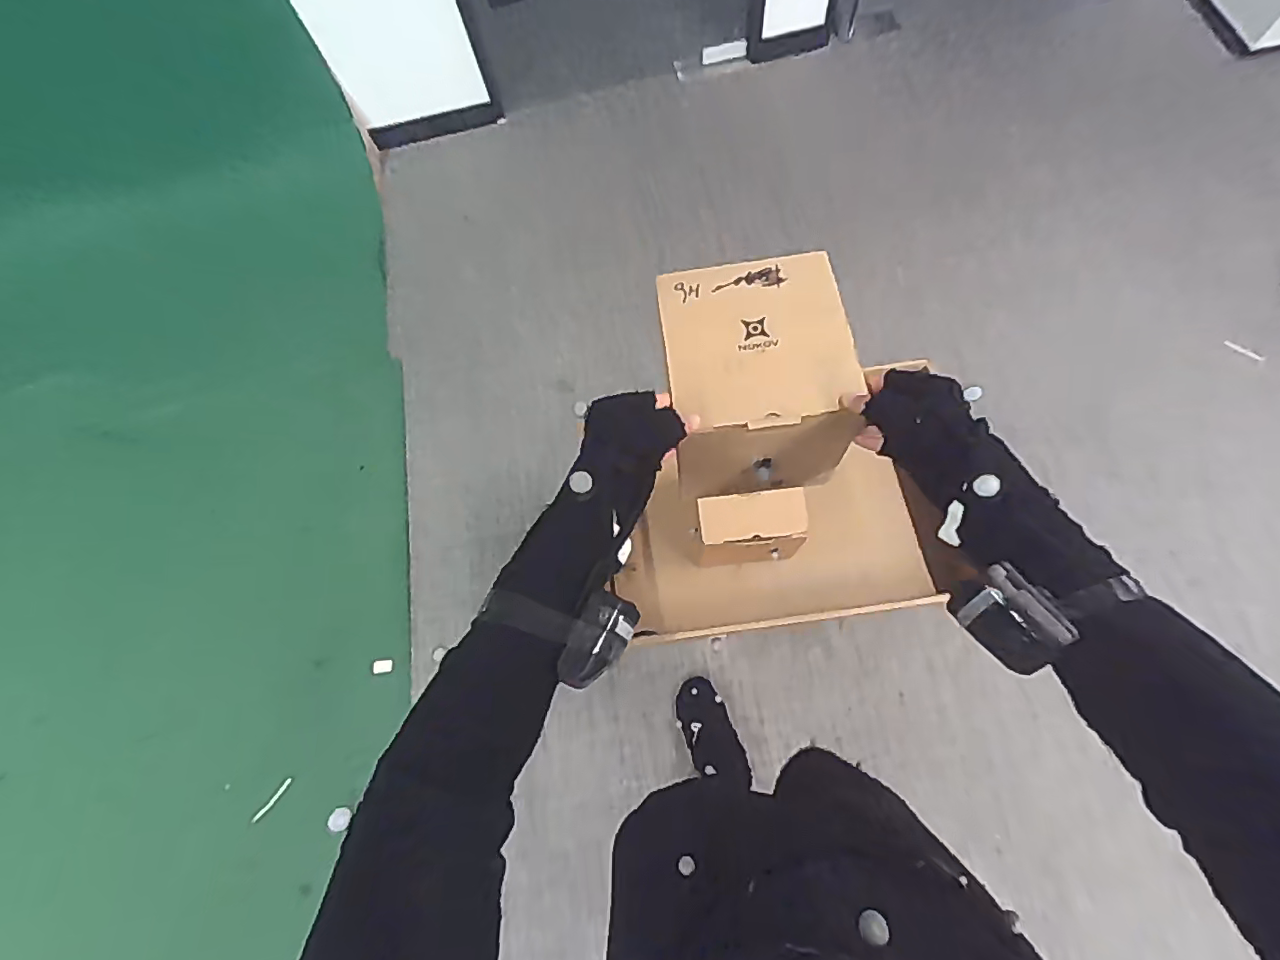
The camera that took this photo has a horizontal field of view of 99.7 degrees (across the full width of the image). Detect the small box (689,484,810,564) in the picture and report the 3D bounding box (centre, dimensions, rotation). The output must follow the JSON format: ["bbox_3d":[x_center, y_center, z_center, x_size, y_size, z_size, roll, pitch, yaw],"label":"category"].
[{"bbox_3d":[0.173,0.040,0.913,0.168,0.176,0.179,-6,68,1],"label":"small box"}]

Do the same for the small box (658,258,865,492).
[{"bbox_3d":[0.113,-0.094,0.563,0.168,0.176,0.179,-7,68,3],"label":"small box"}]
